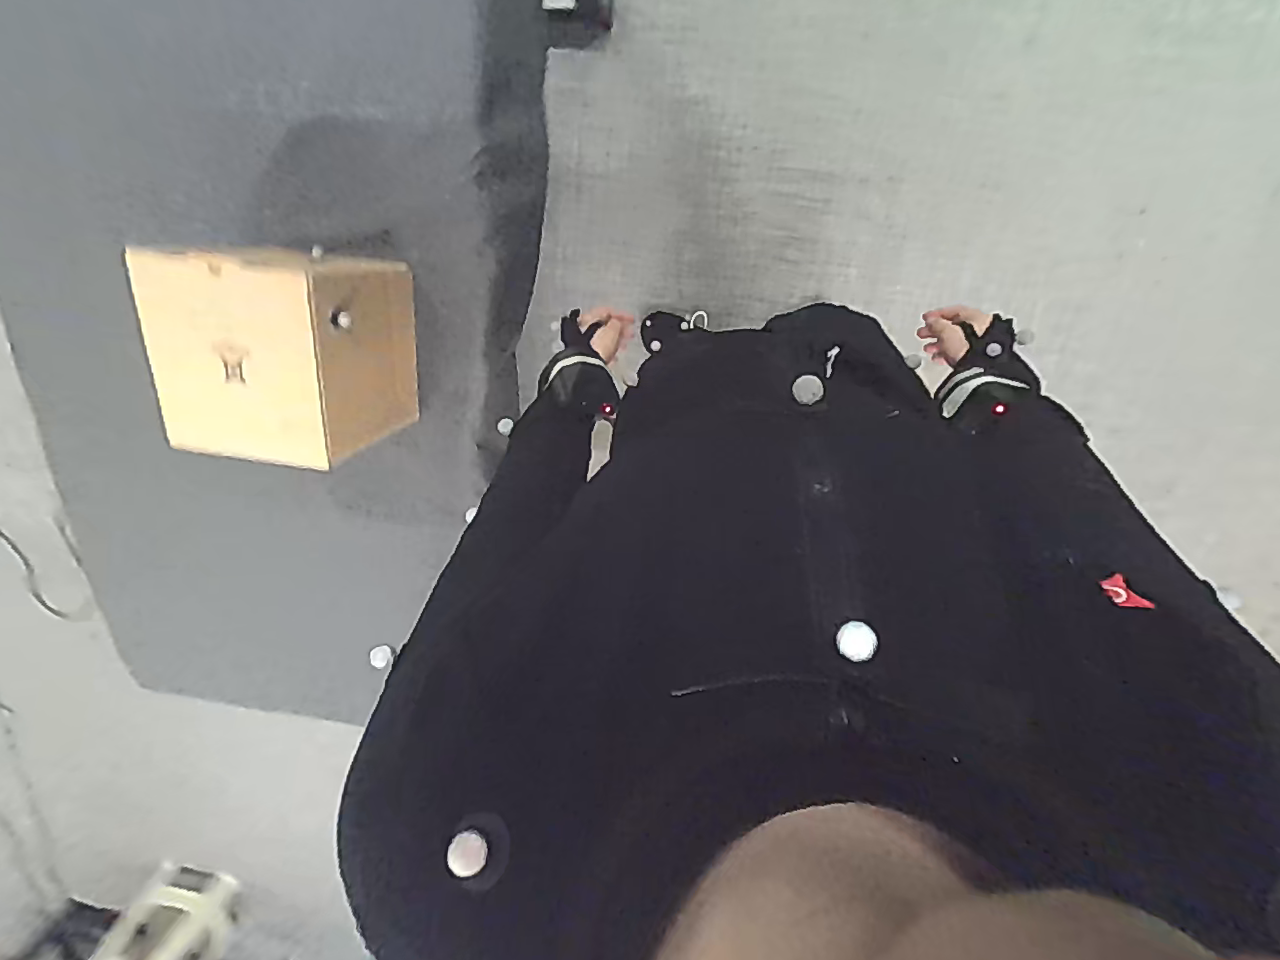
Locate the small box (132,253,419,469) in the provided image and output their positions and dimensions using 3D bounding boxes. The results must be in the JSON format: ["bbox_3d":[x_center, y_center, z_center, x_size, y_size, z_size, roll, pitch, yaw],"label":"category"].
[{"bbox_3d":[-0.345,-0.130,0.554,0.168,0.176,0.179,8,113,5],"label":"small box"}]
